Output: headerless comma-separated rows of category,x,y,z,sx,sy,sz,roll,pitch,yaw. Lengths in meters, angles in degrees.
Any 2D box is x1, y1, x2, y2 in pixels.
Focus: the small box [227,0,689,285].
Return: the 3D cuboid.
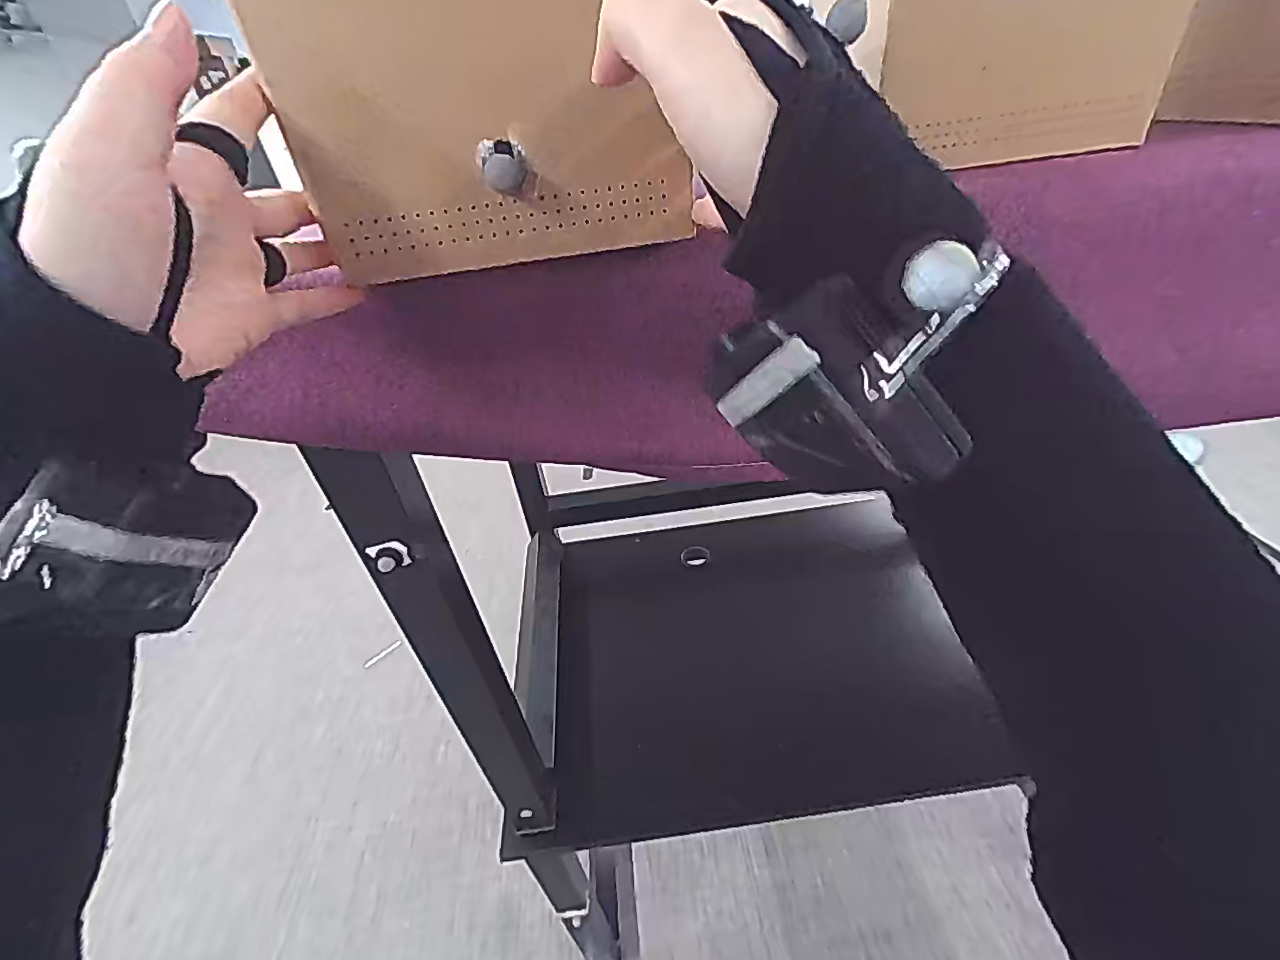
small box,-0.073,-0.212,0.277,0.179,0.176,0.168,-9,35,-4
